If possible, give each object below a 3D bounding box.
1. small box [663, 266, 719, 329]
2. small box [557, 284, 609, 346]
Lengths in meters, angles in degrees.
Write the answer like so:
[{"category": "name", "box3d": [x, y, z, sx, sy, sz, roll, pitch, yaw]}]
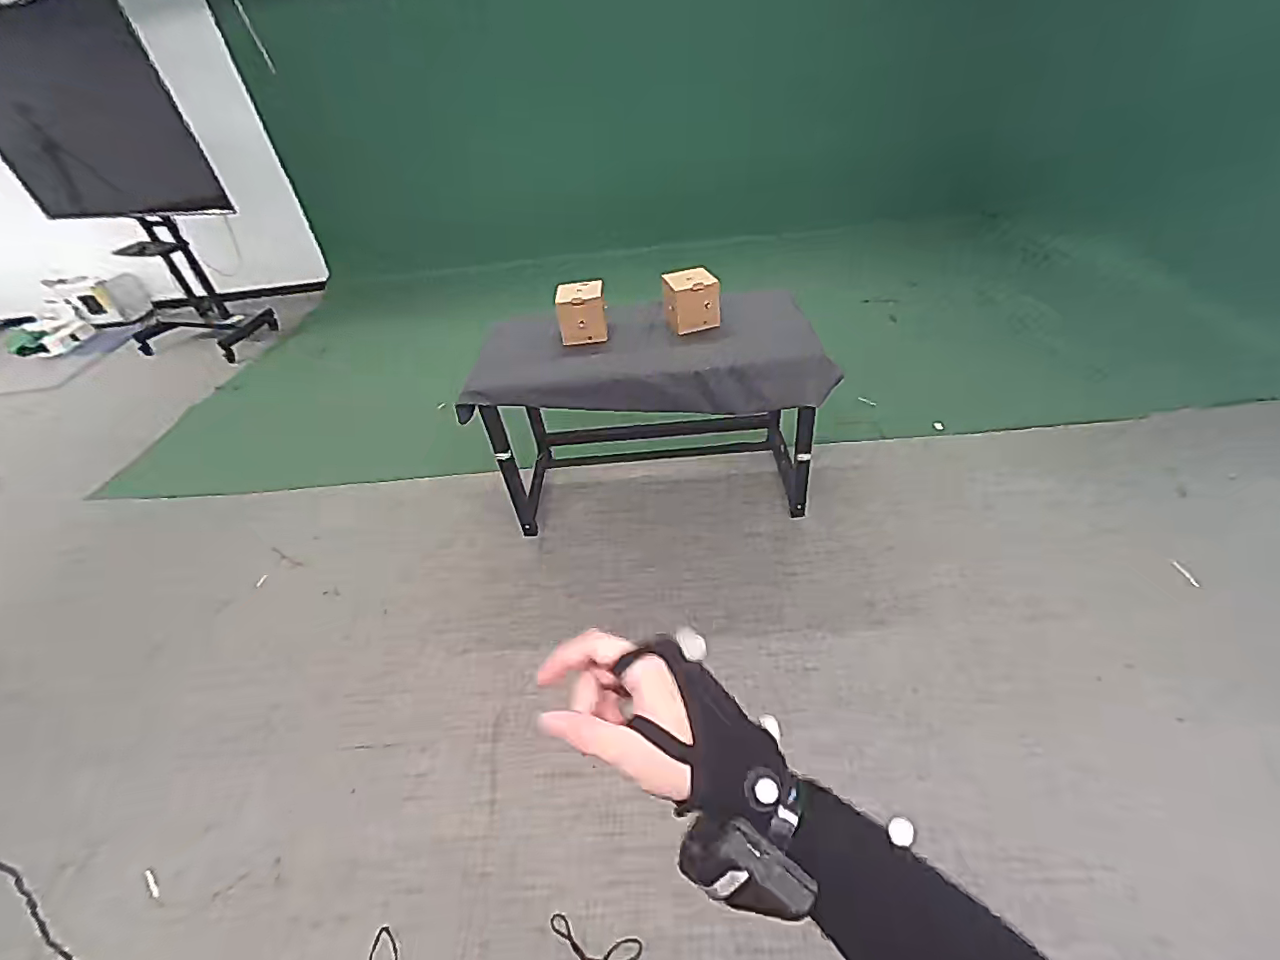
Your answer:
[{"category": "small box", "box3d": [0.188, -0.667, 1.996, 0.168, 0.176, 0.179, -12, 40, -8]}, {"category": "small box", "box3d": [-0.211, -0.612, 2.030, 0.168, 0.176, 0.179, -9, 39, 1]}]
